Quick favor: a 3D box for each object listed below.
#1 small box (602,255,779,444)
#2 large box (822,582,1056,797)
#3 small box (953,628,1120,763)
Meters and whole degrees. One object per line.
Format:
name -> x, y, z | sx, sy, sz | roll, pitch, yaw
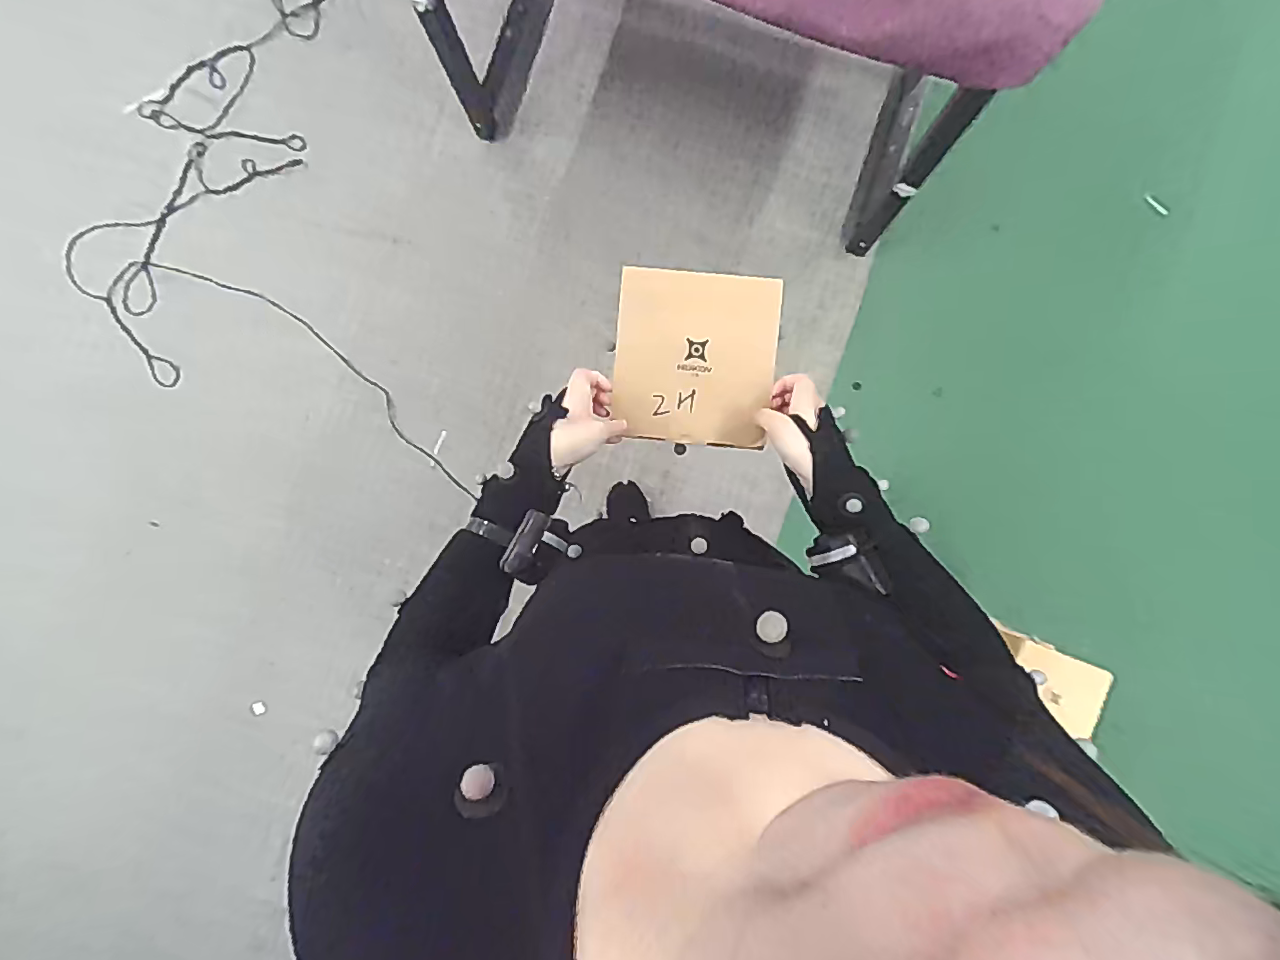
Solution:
small box -> 0.052, -0.137, 0.621 | 0.168, 0.176, 0.179 | 5, 96, 2
large box -> 0.689, 0.502, 1.304 | 0.320, 0.320, 0.408 | 21, 89, 4
small box -> 0.764, 0.409, 1.062 | 0.179, 0.176, 0.168 | 21, 89, 3
